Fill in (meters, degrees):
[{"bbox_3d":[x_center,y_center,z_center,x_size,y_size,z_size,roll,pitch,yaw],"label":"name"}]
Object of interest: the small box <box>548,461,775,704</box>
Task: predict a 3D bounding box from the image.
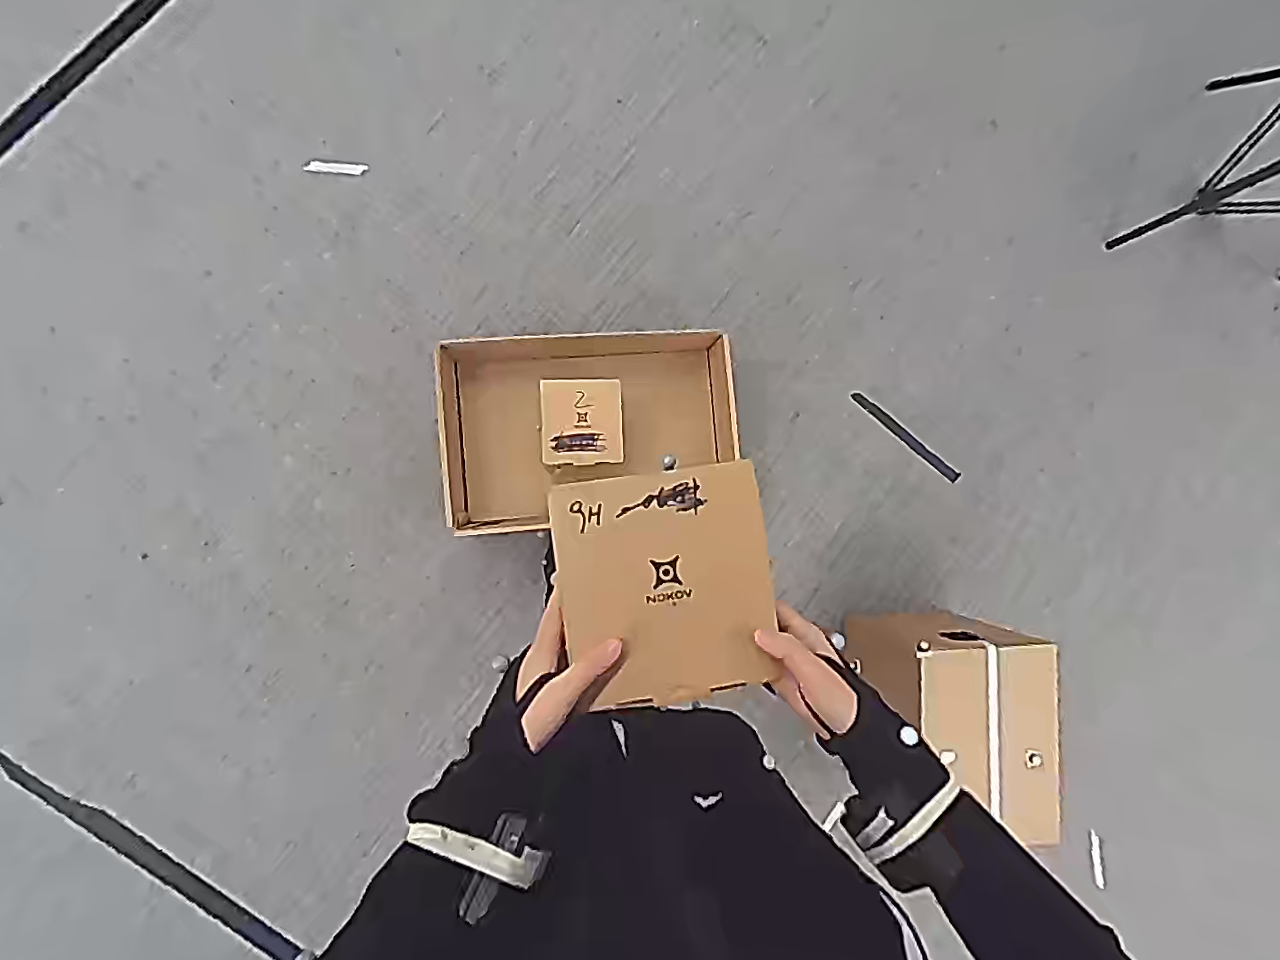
[{"bbox_3d":[0.013,0.080,0.502,0.168,0.176,0.179,-7,89,-4],"label":"small box"}]
